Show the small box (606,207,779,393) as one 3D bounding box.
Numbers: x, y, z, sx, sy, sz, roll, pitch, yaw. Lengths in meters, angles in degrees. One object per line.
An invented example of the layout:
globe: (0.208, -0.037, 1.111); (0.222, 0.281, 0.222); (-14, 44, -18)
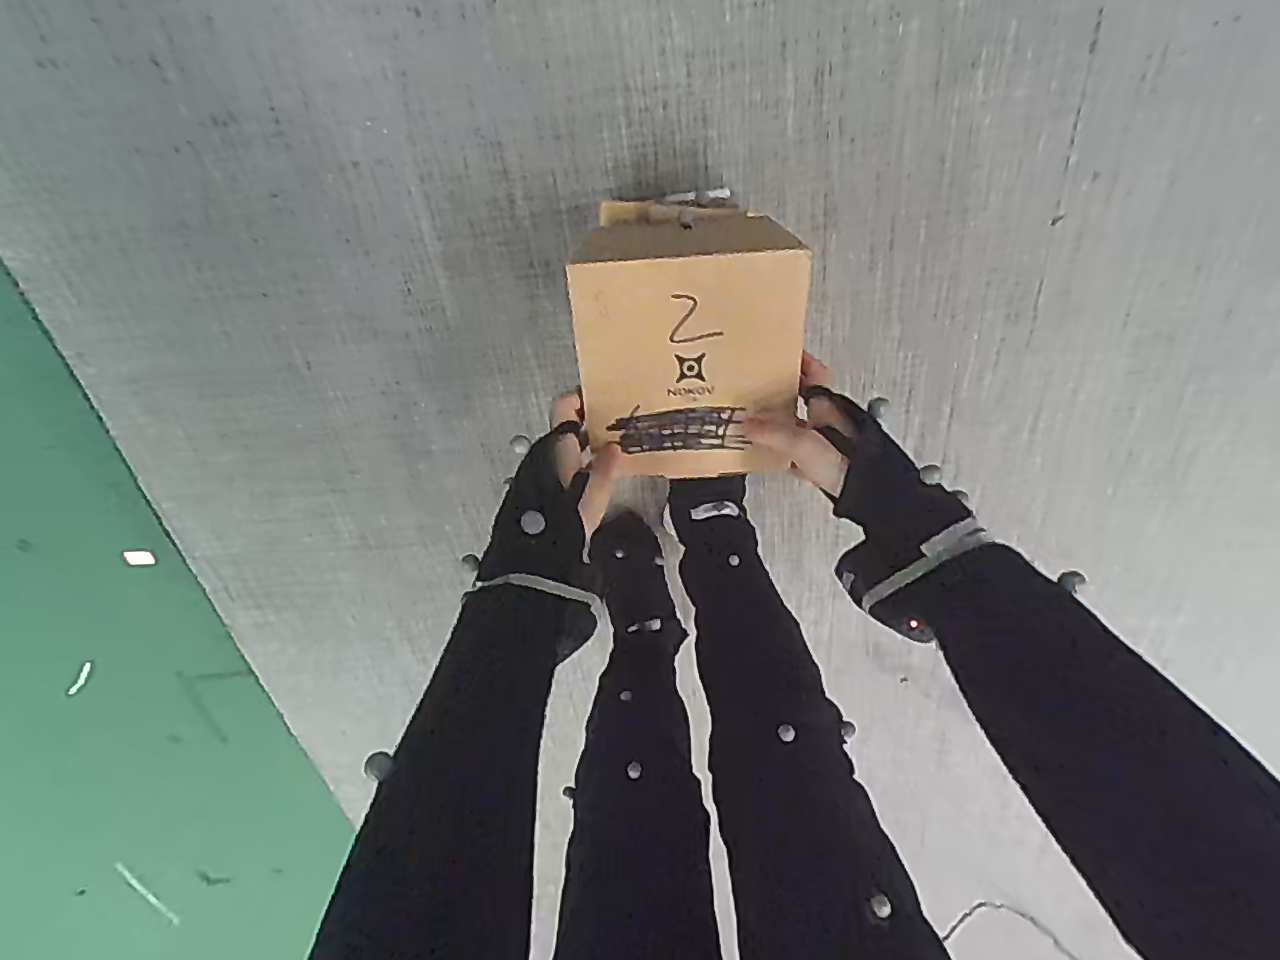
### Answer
small box: (0.049, -0.218, 0.637); (0.168, 0.176, 0.179); (4, 119, -2)
